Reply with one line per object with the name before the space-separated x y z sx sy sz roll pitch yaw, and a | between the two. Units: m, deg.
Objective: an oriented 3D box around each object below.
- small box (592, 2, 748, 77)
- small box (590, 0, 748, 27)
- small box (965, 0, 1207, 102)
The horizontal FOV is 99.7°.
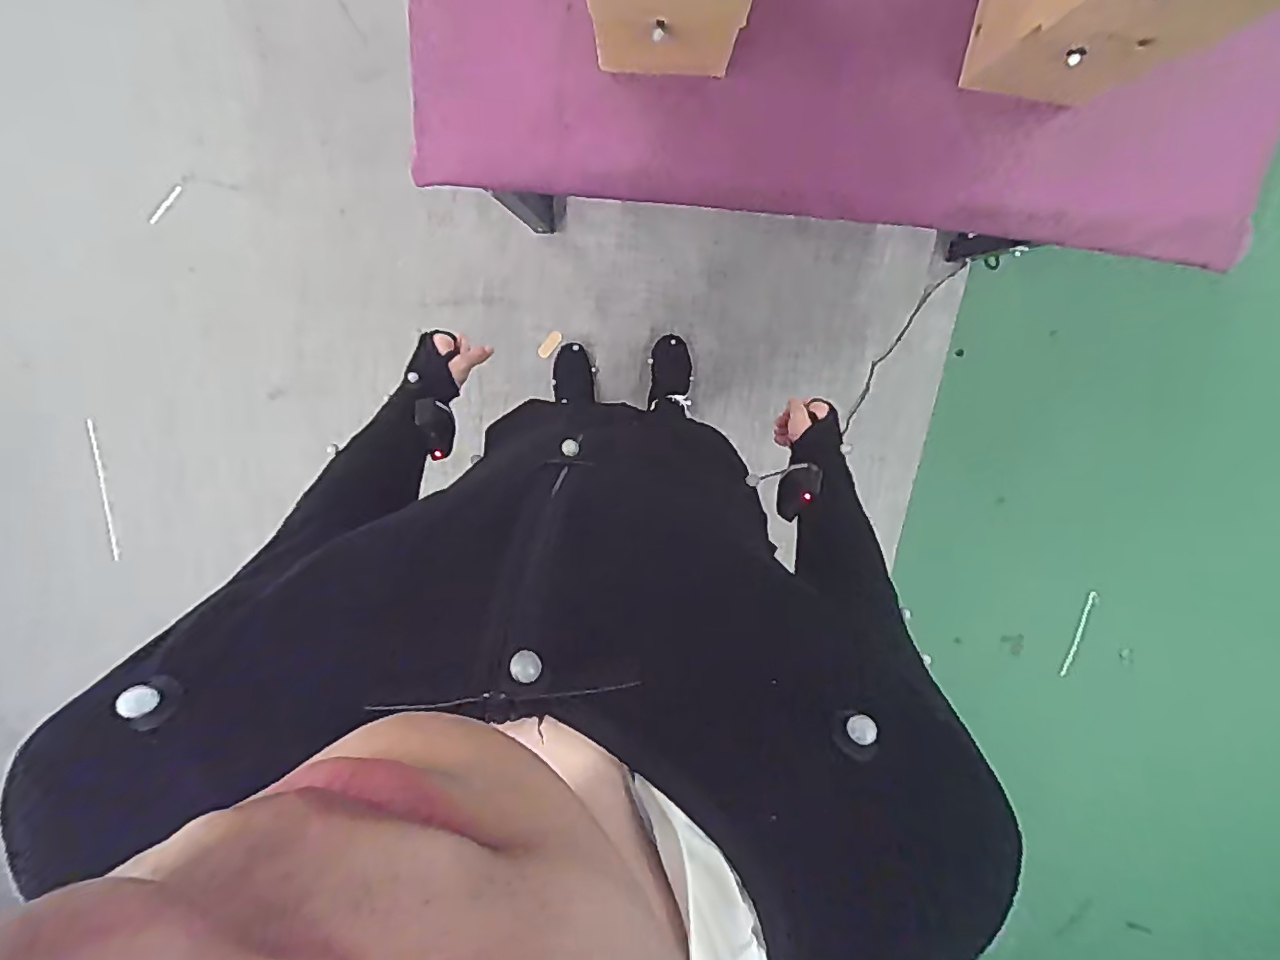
small box | 0.038 -0.623 0.659 0.179 0.176 0.168 3 106 1
small box | 0.036 -0.563 0.504 0.179 0.176 0.168 5 105 1
small box | 0.535 -0.588 0.652 0.179 0.176 0.168 7 106 -1
